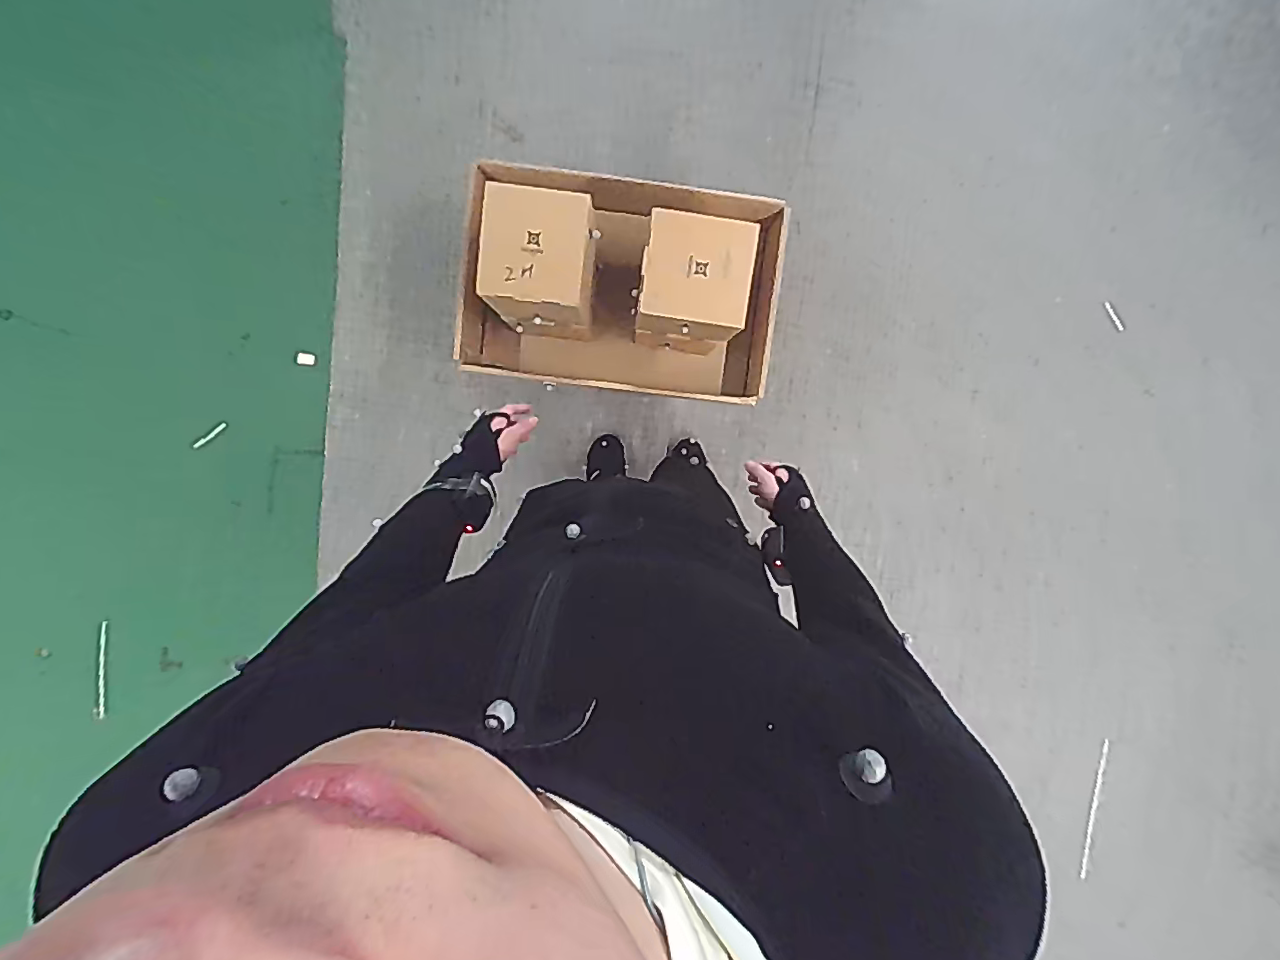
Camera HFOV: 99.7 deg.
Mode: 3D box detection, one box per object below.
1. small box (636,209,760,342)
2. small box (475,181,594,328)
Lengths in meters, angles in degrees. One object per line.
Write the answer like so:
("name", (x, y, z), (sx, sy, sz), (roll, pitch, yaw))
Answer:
("small box", (0.090, -0.340, 0.935), (0.179, 0.176, 0.168), (8, 97, -3))
("small box", (-0.170, -0.372, 0.921), (0.168, 0.176, 0.179), (7, 95, -2))
